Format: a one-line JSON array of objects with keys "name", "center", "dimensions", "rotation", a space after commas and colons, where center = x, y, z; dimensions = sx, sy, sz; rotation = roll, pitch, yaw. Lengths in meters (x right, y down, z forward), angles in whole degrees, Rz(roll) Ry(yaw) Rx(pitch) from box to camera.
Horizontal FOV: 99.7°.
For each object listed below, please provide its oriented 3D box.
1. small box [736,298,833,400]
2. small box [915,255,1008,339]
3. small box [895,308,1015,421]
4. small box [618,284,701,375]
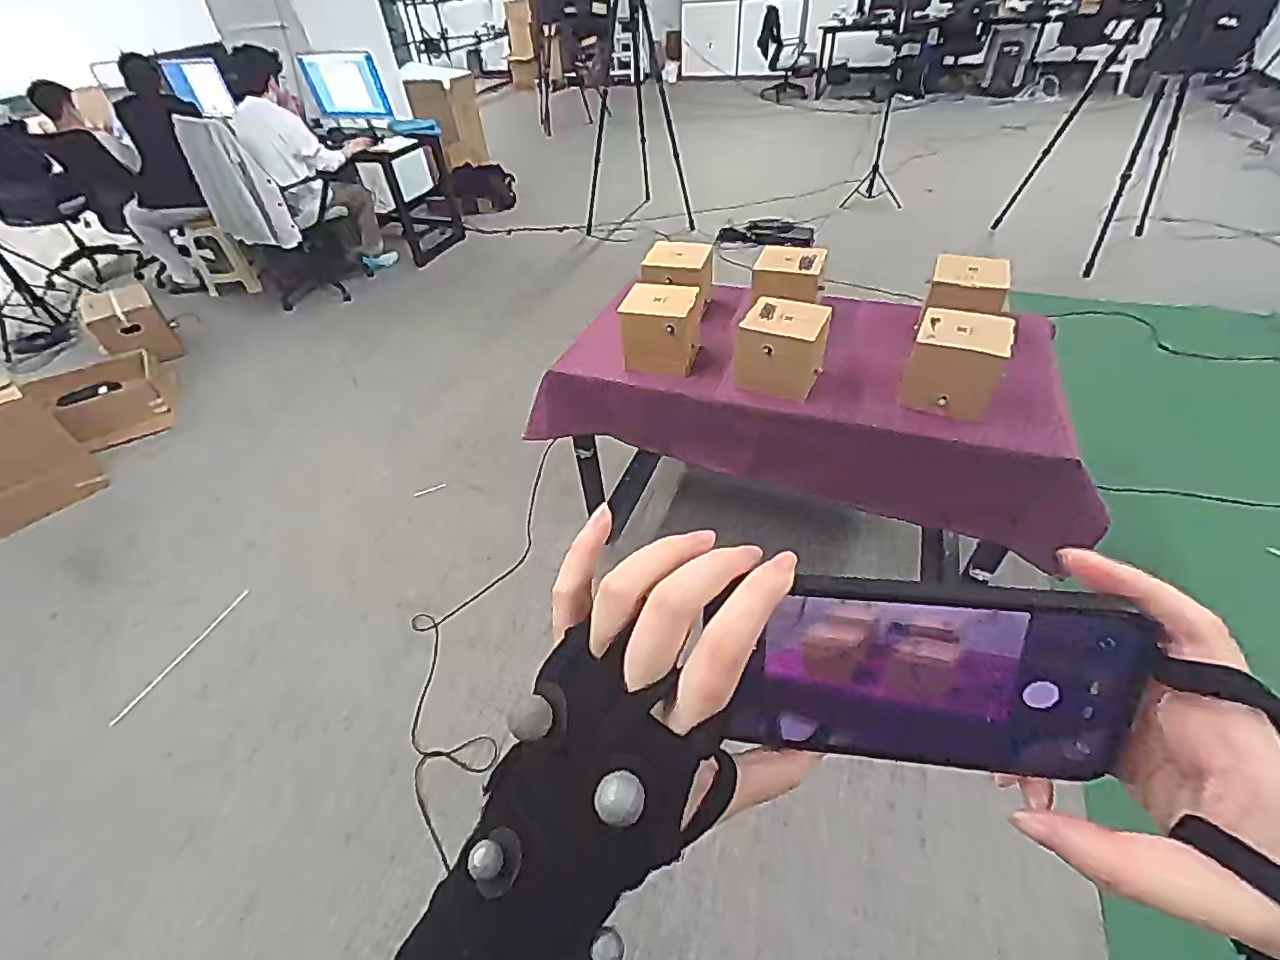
[{"name": "small box", "center": [0.340, -0.312, 1.293], "dimensions": [0.179, 0.176, 0.168], "rotation": [18, 49, 22]}, {"name": "small box", "center": [0.827, -0.457, 1.398], "dimensions": [0.168, 0.176, 0.179], "rotation": [16, 48, 21]}, {"name": "small box", "center": [0.694, -0.253, 1.200], "dimensions": [0.179, 0.176, 0.168], "rotation": [19, 48, 23]}, {"name": "small box", "center": [0.055, -0.389, 1.401], "dimensions": [0.179, 0.176, 0.168], "rotation": [10, 45, 13]}]
